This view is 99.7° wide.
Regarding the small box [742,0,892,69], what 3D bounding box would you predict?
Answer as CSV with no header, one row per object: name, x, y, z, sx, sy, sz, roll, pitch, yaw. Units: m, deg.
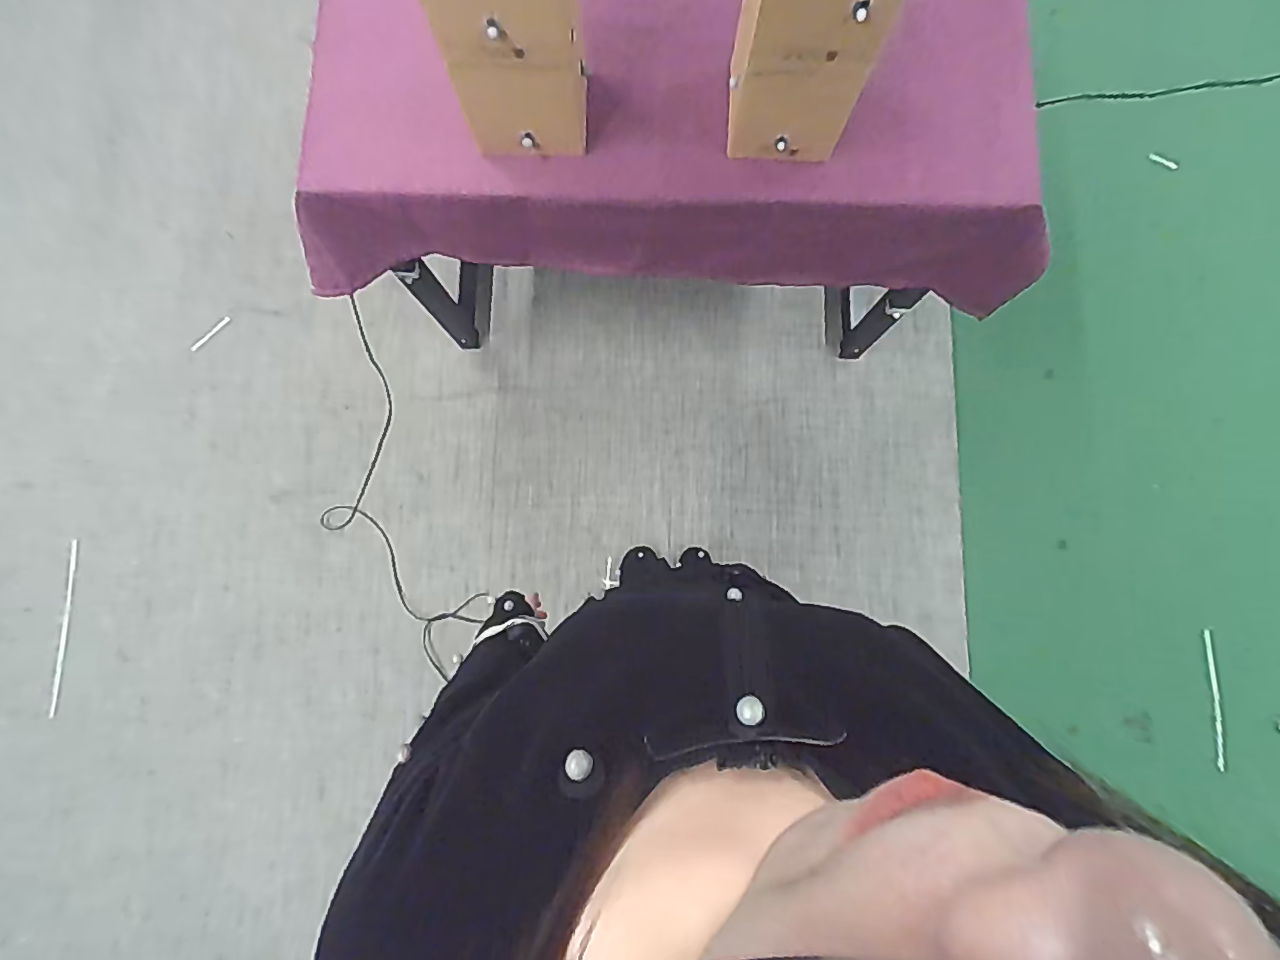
small box,0.220,-0.640,0.651,0.168,0.176,0.179,2,82,0

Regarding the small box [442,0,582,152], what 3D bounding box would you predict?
small box,-0.181,-0.626,0.815,0.179,0.176,0.168,0,82,0
